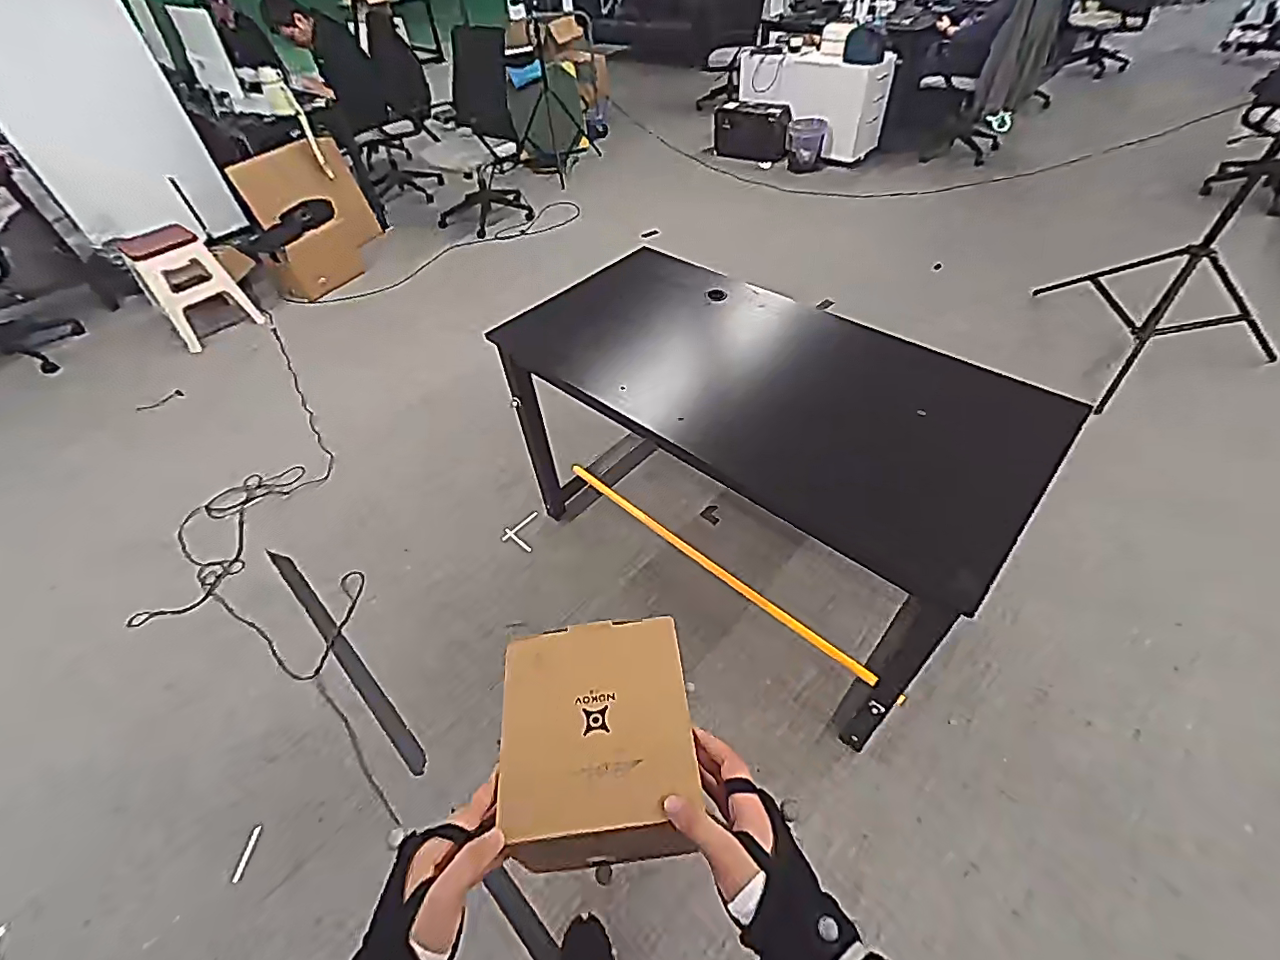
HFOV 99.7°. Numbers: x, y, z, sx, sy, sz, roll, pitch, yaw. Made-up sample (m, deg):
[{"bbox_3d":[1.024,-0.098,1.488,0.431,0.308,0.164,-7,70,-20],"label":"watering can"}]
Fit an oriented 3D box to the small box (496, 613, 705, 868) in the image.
[{"bbox_3d":[-0.035,0.256,0.533,0.168,0.176,0.179,-7,48,-2],"label":"small box"}]
